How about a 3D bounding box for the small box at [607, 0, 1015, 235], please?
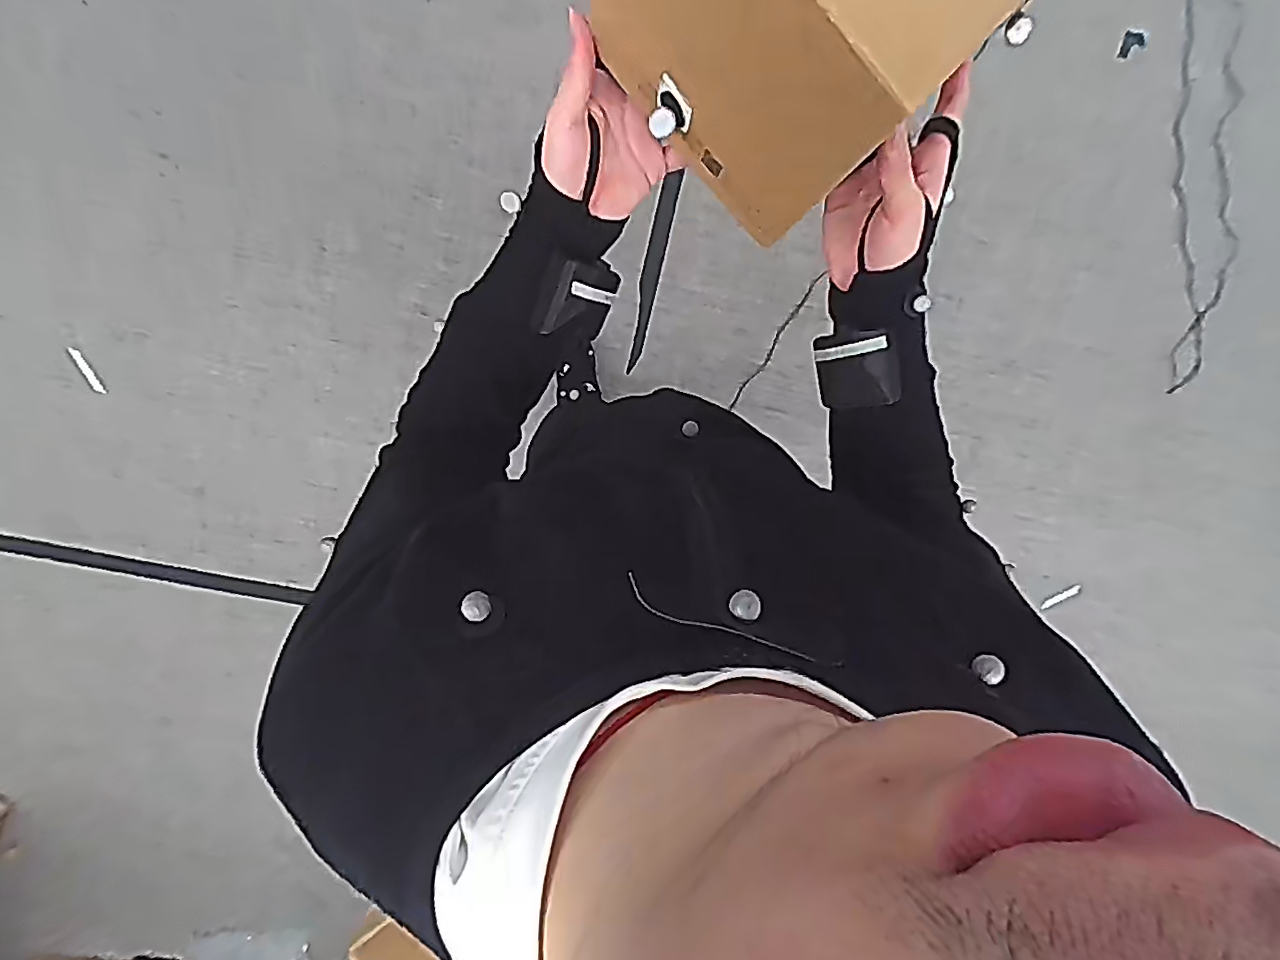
[{"bbox_3d":[0.095,-0.266,0.273,0.179,0.176,0.168,-45,98,1],"label":"small box"}]
